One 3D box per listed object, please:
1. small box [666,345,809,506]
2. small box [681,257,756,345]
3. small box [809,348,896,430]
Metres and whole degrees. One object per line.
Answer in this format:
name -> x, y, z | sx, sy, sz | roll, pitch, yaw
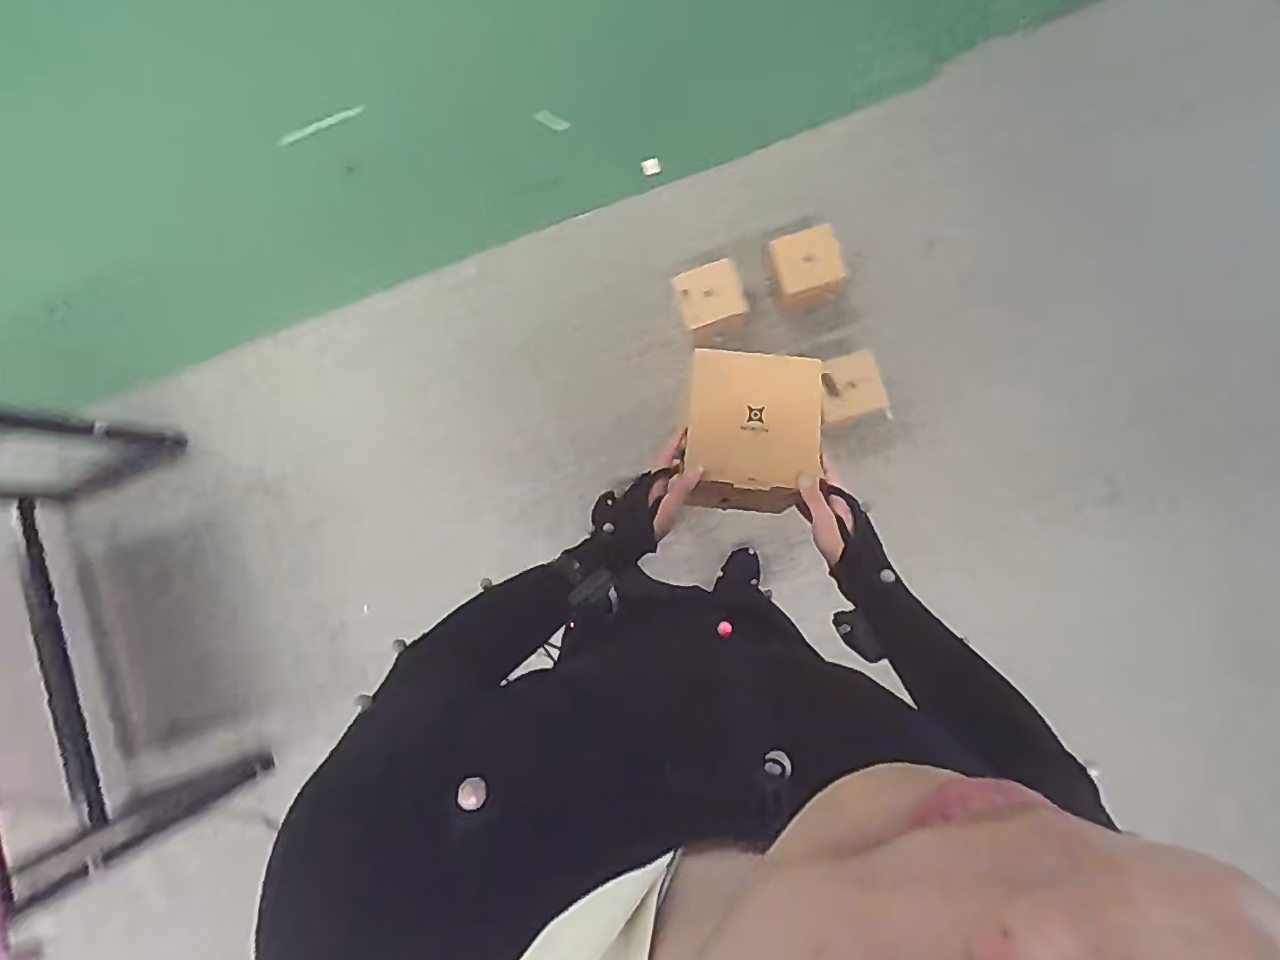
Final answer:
small box -> 0.126, -0.066, 0.750 | 0.168, 0.176, 0.179 | 4, 79, 0
small box -> 0.225, -0.518, 1.585 | 0.179, 0.176, 0.168 | -17, 84, 5
small box -> 0.585, -0.248, 1.521 | 0.179, 0.176, 0.168 | -15, 85, 6
